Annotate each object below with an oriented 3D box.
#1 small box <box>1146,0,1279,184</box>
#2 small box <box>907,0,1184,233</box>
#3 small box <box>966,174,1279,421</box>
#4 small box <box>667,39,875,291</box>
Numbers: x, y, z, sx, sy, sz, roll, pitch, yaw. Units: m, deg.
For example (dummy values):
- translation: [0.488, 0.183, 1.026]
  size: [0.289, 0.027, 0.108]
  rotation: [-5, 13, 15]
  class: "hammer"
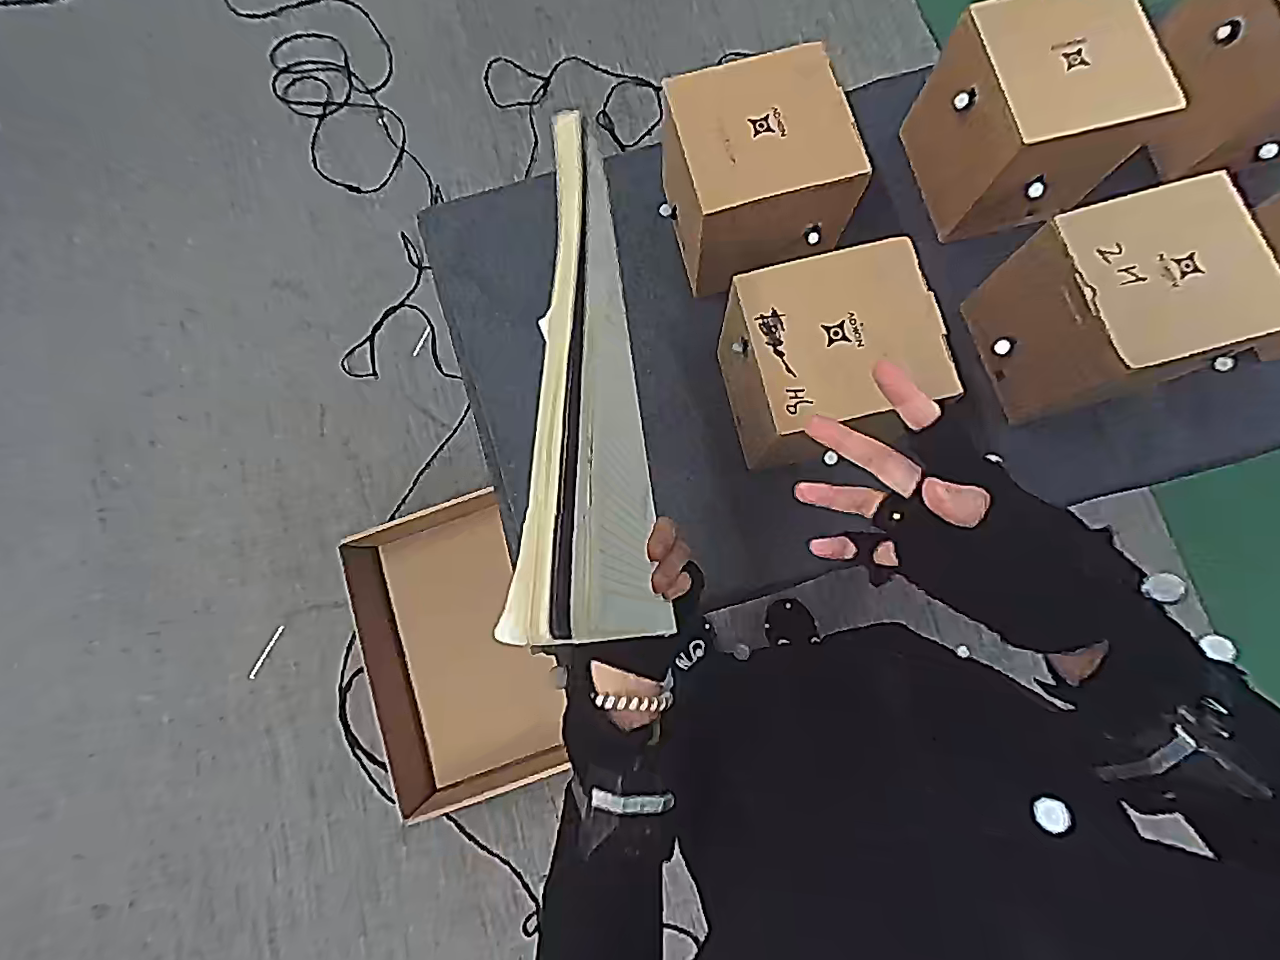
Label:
- translation: [0.724, -0.482, 0.621]
  size: [0.168, 0.176, 0.179]
  rotation: [-13, 80, 1]
  class: "small box"
- translation: [0.443, -0.413, 0.625]
  size: [0.168, 0.176, 0.179]
  rotation: [-13, 79, 1]
  class: "small box"
- translation: [0.498, -0.178, 0.576]
  size: [0.179, 0.176, 0.168]
  rotation: [-15, 78, 0]
  class: "small box"
- translation: [0.133, -0.347, 0.624]
  size: [0.179, 0.176, 0.168]
  rotation: [-14, 79, -1]
  class: "small box"
